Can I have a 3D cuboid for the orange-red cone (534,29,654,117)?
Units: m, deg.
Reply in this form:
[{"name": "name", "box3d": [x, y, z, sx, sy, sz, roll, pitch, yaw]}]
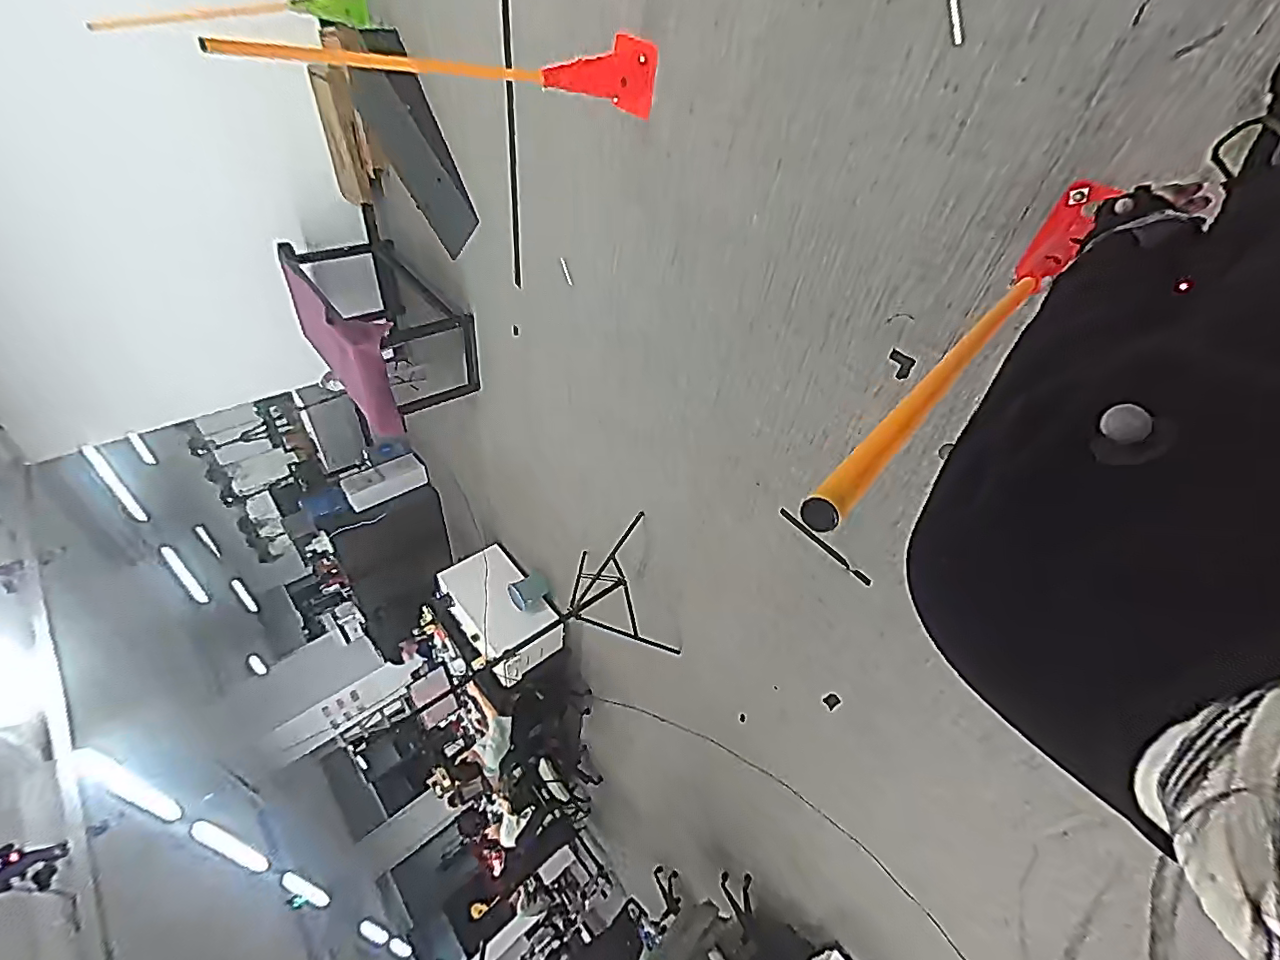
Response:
[{"name": "orange-red cone", "box3d": [-0.162, -1.232, 1.637, 0.199, 0.360, 0.198, 45, 144, 26]}]
